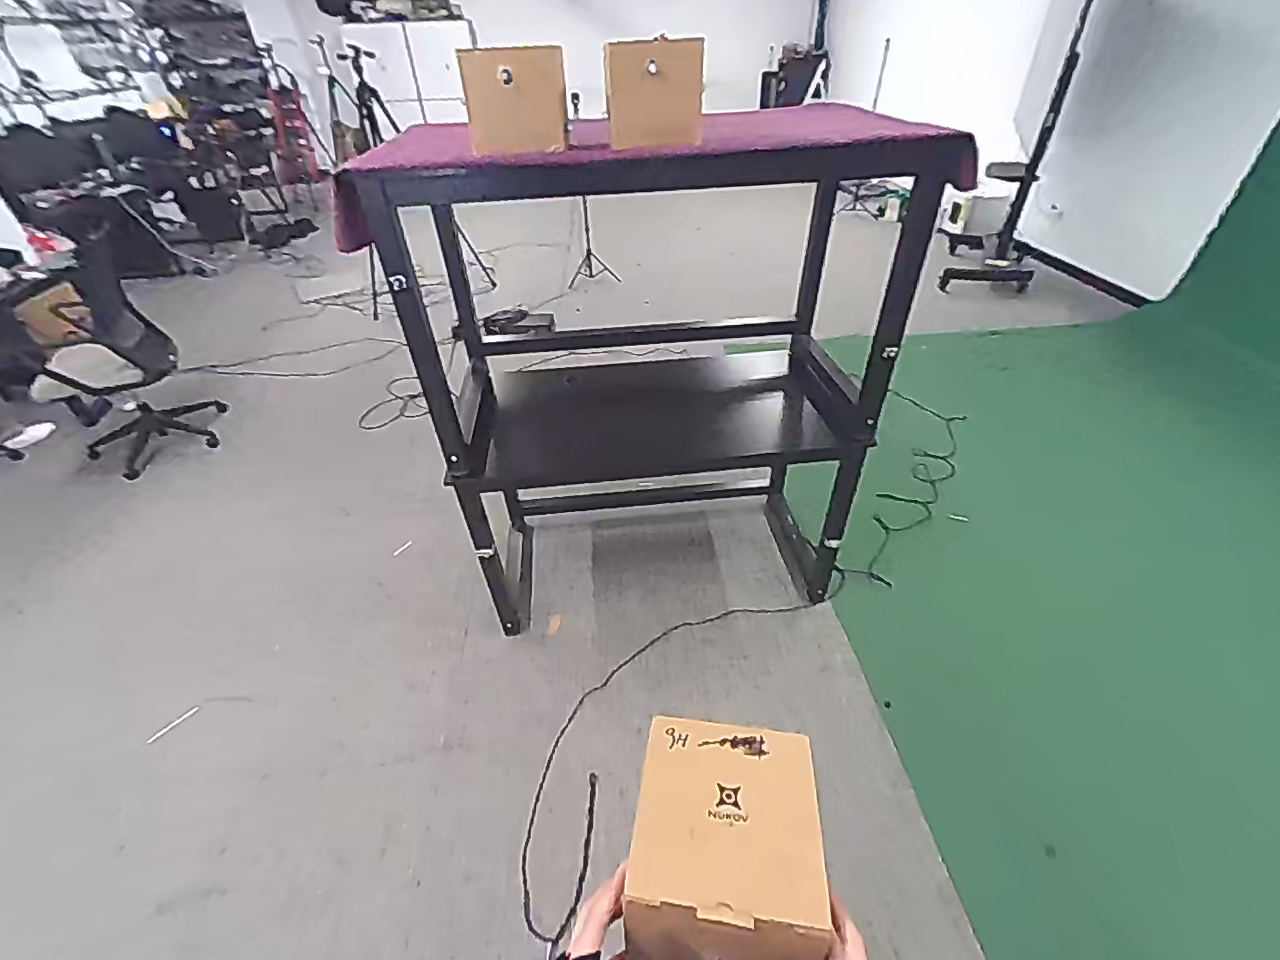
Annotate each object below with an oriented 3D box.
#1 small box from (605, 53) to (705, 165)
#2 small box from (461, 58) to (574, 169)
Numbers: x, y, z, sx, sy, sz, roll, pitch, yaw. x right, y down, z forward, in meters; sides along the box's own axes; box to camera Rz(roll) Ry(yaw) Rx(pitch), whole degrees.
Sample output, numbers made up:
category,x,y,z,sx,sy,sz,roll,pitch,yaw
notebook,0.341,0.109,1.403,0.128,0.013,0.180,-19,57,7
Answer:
category,x,y,z,sx,sy,sz,roll,pitch,yaw
small box,0.026,-0.740,1.077,0.179,0.176,0.168,-6,37,-3
small box,-0.230,-0.717,1.062,0.179,0.176,0.168,-2,38,0
